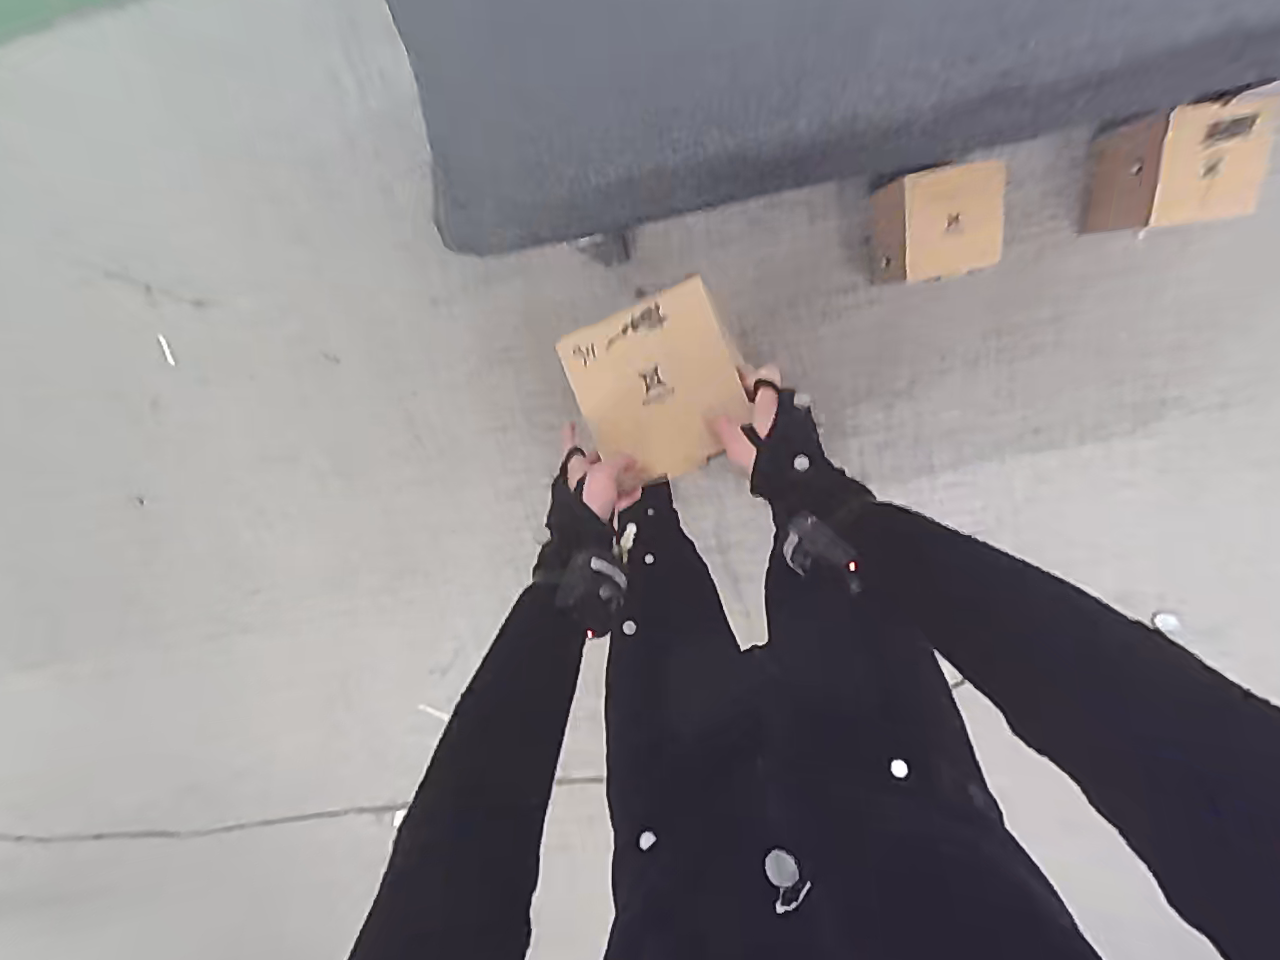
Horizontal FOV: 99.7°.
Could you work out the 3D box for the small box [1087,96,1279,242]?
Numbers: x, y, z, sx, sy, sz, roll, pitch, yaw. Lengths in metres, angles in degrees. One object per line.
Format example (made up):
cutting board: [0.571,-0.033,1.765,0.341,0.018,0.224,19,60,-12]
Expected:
small box: [0.931,-0.531,0.946,0.168,0.176,0.179,-6,107,6]

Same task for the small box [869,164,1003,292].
small box: [0.540,-0.453,1.004,0.168,0.176,0.179,-10,104,6]
